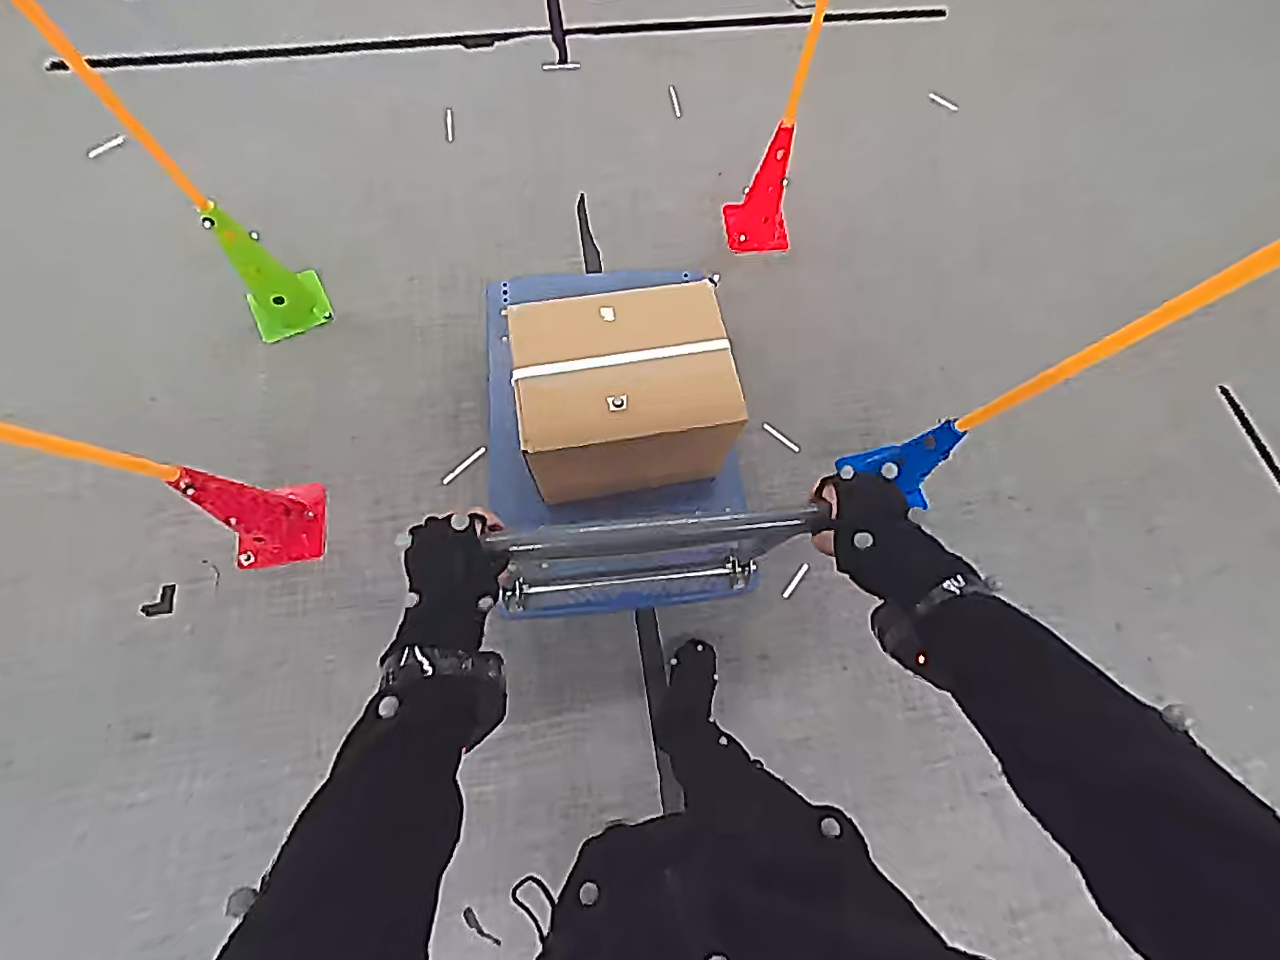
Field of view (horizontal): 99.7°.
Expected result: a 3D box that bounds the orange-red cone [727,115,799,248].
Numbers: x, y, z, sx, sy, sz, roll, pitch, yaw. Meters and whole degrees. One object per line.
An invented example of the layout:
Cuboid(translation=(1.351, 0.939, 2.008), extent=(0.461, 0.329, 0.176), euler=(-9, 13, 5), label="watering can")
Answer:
Cuboid(translation=(0.392, -0.885, 1.581), extent=(0.199, 0.360, 0.198), euler=(-1, 70, -5), label="orange-red cone")

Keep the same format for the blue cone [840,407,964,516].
Cuboid(translation=(0.660, -0.060, 1.303), extent=(0.193, 0.380, 0.192), euler=(-11, 69, -8), label="blue cone")
